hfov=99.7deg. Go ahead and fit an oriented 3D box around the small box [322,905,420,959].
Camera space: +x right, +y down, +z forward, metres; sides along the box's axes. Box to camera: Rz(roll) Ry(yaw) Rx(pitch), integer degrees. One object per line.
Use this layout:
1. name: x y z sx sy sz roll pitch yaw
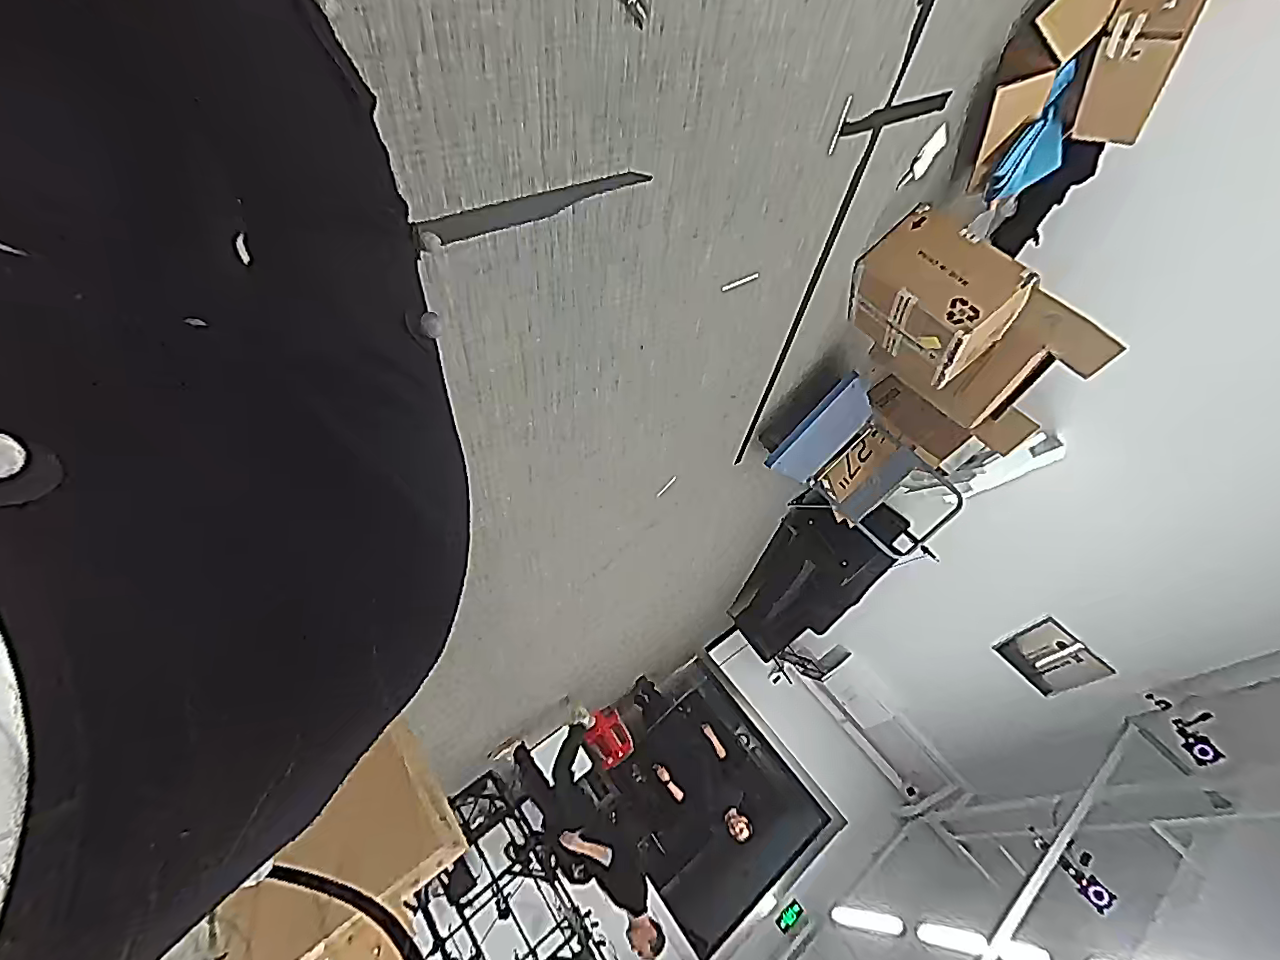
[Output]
1. small box: -0.730 1.304 1.472 0.168 0.176 0.179 -31 155 -27
